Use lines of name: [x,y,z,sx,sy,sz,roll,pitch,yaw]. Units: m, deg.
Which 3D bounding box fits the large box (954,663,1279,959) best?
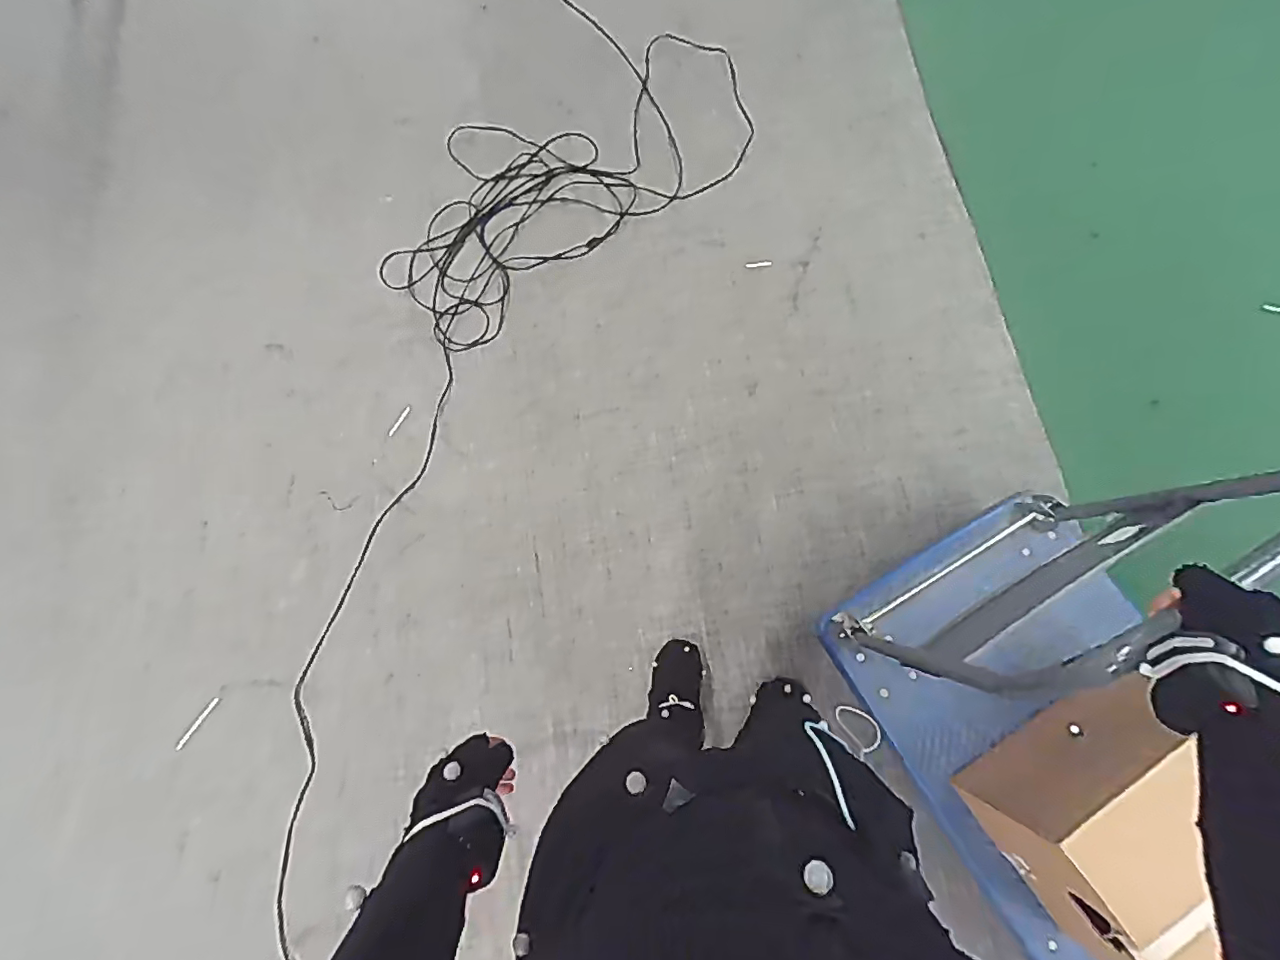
large box: [0.835,0.555,0.886,0.408,0.320,0.320,-34,77,-6]
